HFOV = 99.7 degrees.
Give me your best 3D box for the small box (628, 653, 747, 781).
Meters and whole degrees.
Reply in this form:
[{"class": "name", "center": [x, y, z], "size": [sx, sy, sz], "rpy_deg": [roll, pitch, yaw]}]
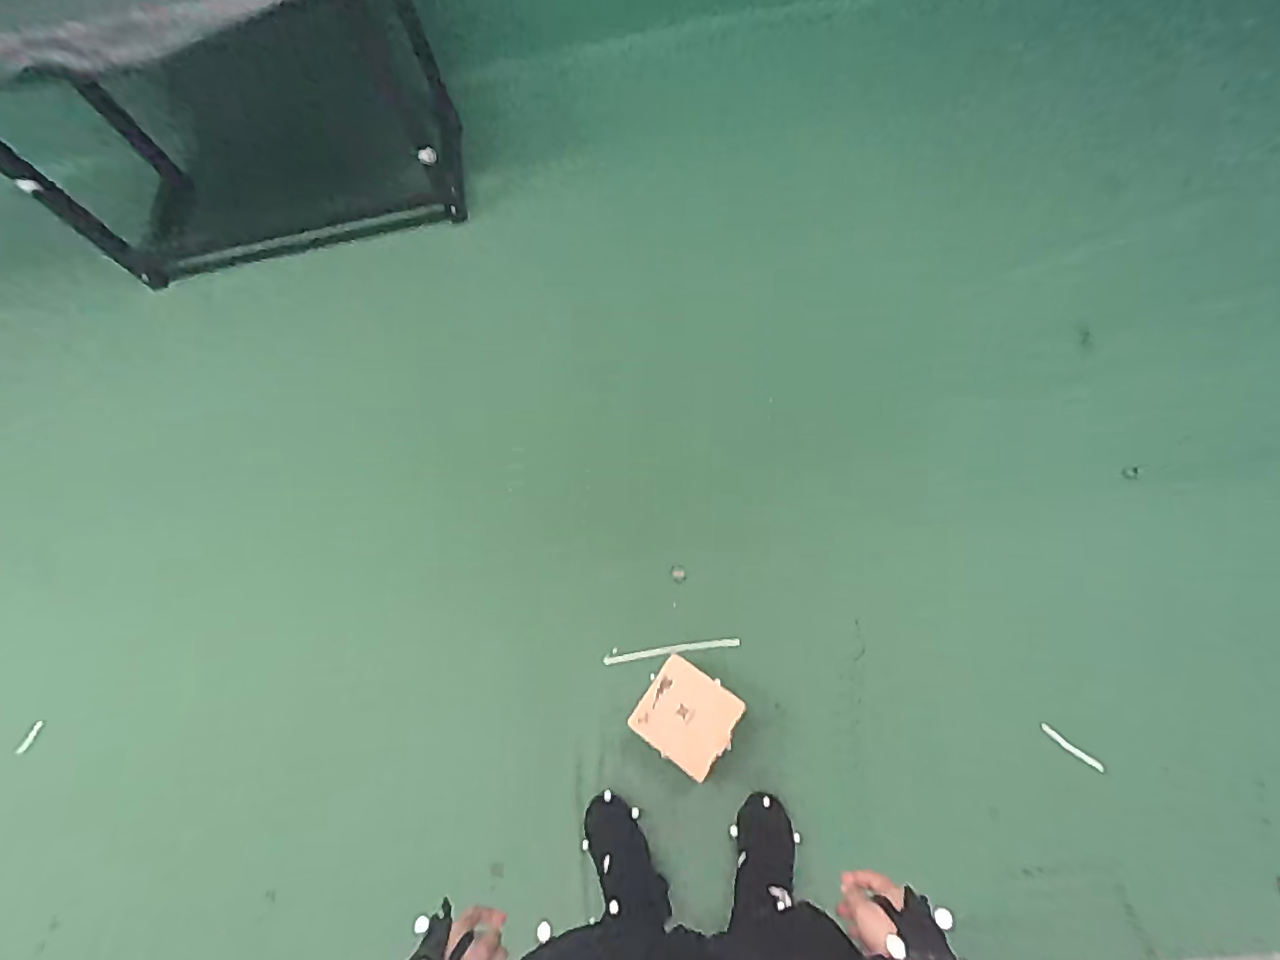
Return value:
[{"class": "small box", "center": [0.100, 0.482, 1.115], "size": [0.179, 0.176, 0.168], "rpy_deg": [32, 73, 19]}]
